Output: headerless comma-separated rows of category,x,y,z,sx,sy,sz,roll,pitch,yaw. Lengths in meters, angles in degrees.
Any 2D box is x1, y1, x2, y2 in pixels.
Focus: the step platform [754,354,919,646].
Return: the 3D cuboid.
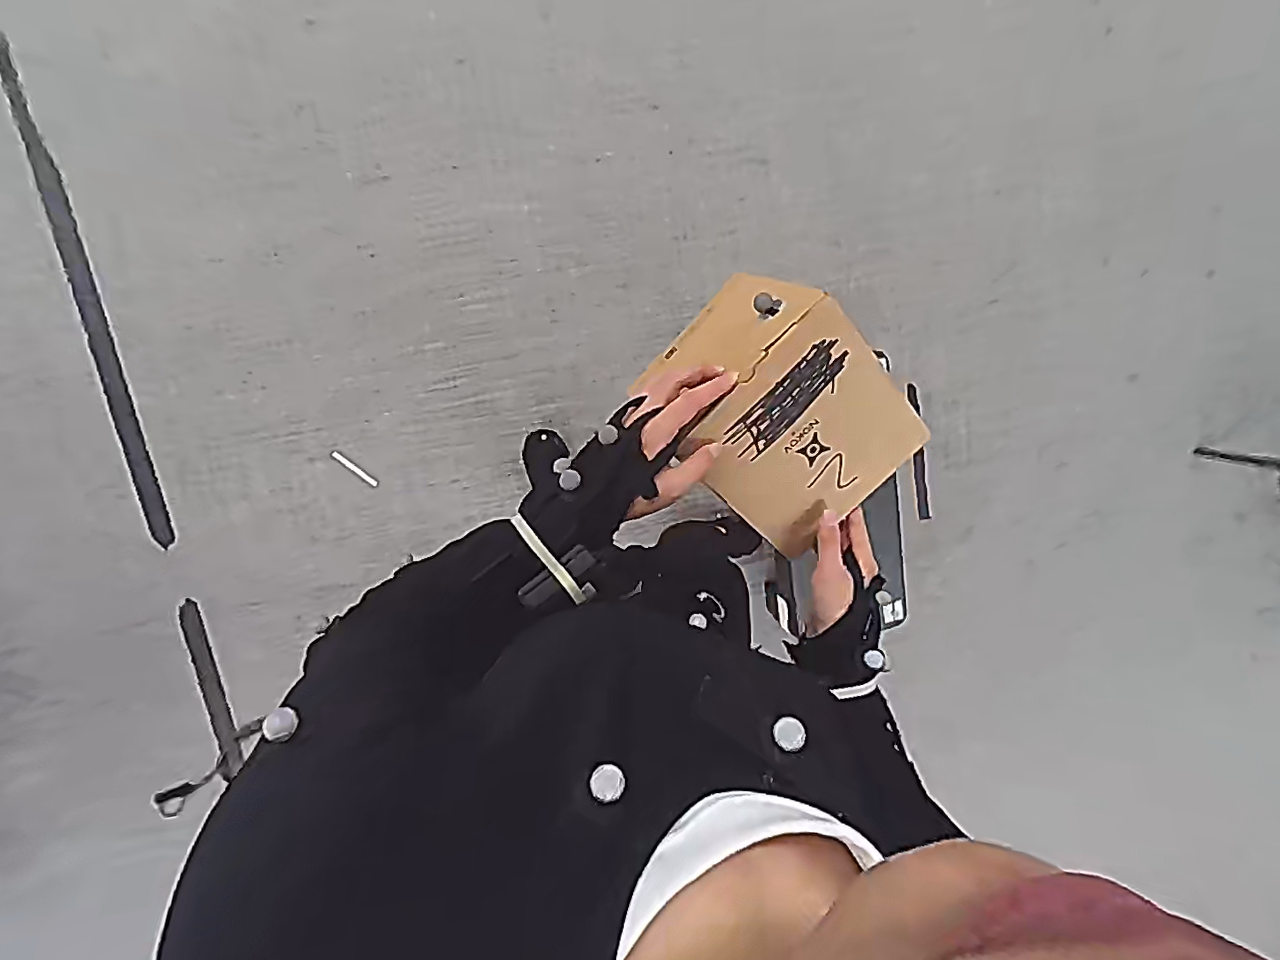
step platform,0.473,0.049,1.300,0.286,0.204,0.684,-10,99,-5
